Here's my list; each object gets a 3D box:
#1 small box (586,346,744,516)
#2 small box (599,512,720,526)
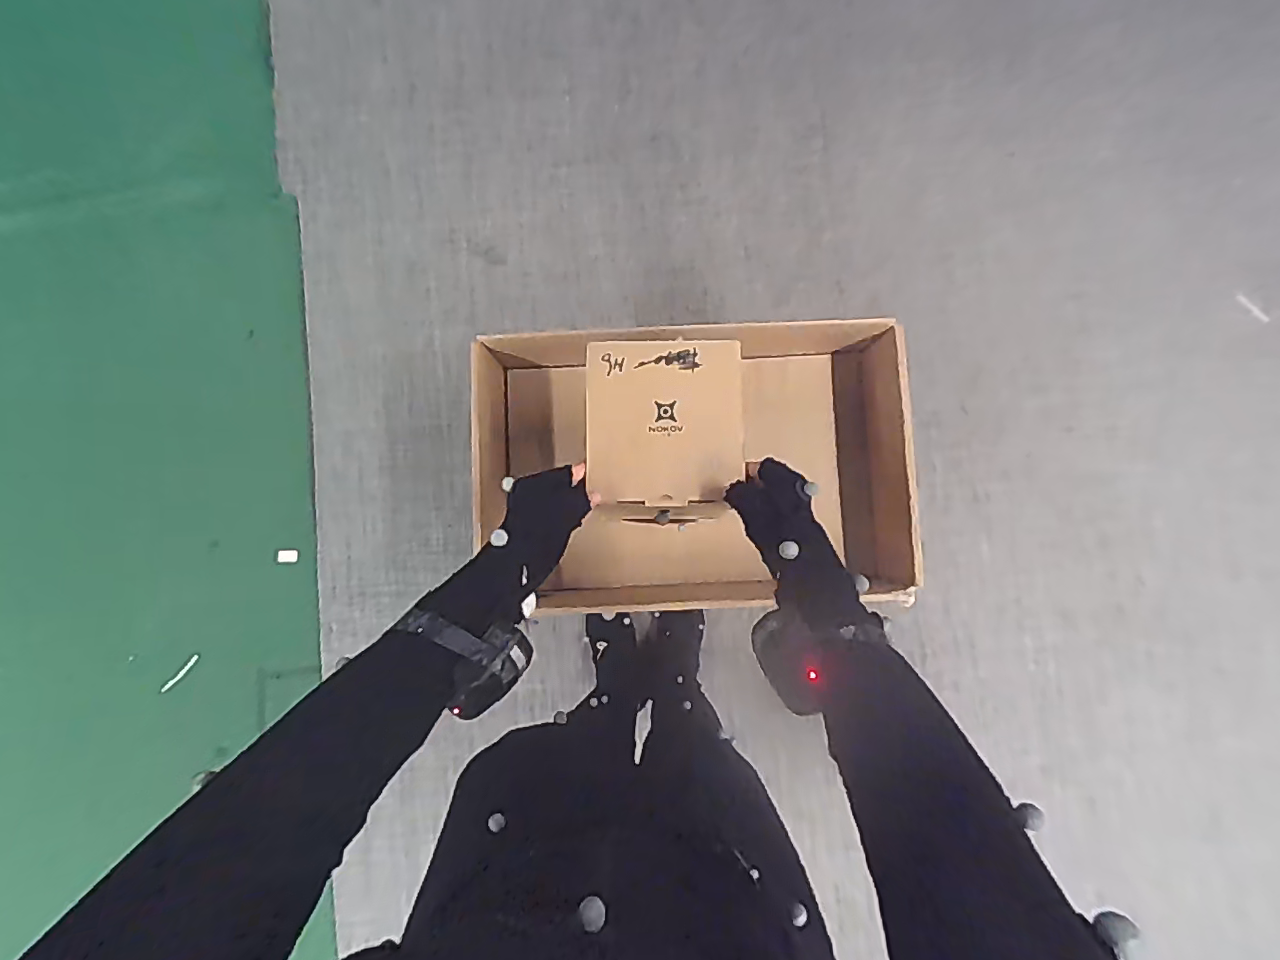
[{"bbox_3d":[0.027,-0.046,0.643,0.168,0.176,0.179,-1,83,0],"label":"small box"},{"bbox_3d":[0.027,-0.019,0.809,0.168,0.176,0.179,0,84,-1],"label":"small box"}]
